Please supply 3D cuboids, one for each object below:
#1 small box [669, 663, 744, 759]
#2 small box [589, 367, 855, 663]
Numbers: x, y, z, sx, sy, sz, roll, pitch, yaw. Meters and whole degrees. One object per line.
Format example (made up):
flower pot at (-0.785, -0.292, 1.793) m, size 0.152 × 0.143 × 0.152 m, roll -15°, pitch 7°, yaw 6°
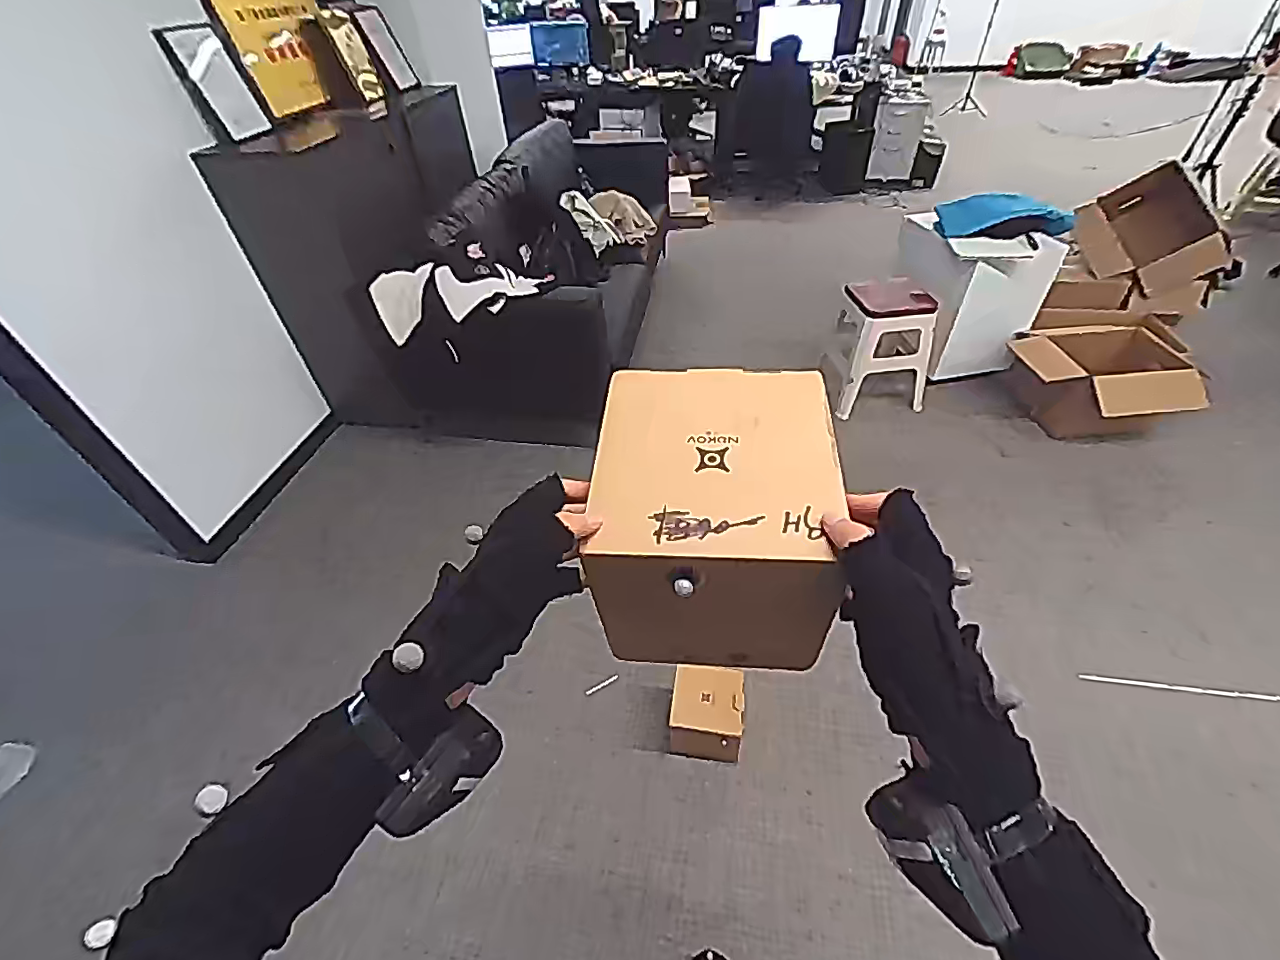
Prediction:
small box at (0.172, 0.599, 1.396) m, size 0.179 × 0.176 × 0.168 m, roll 5°, pitch 44°, yaw 9°
small box at (0.063, 0.028, 0.444) m, size 0.168 × 0.176 × 0.179 m, roll 1°, pitch 49°, yaw 8°
